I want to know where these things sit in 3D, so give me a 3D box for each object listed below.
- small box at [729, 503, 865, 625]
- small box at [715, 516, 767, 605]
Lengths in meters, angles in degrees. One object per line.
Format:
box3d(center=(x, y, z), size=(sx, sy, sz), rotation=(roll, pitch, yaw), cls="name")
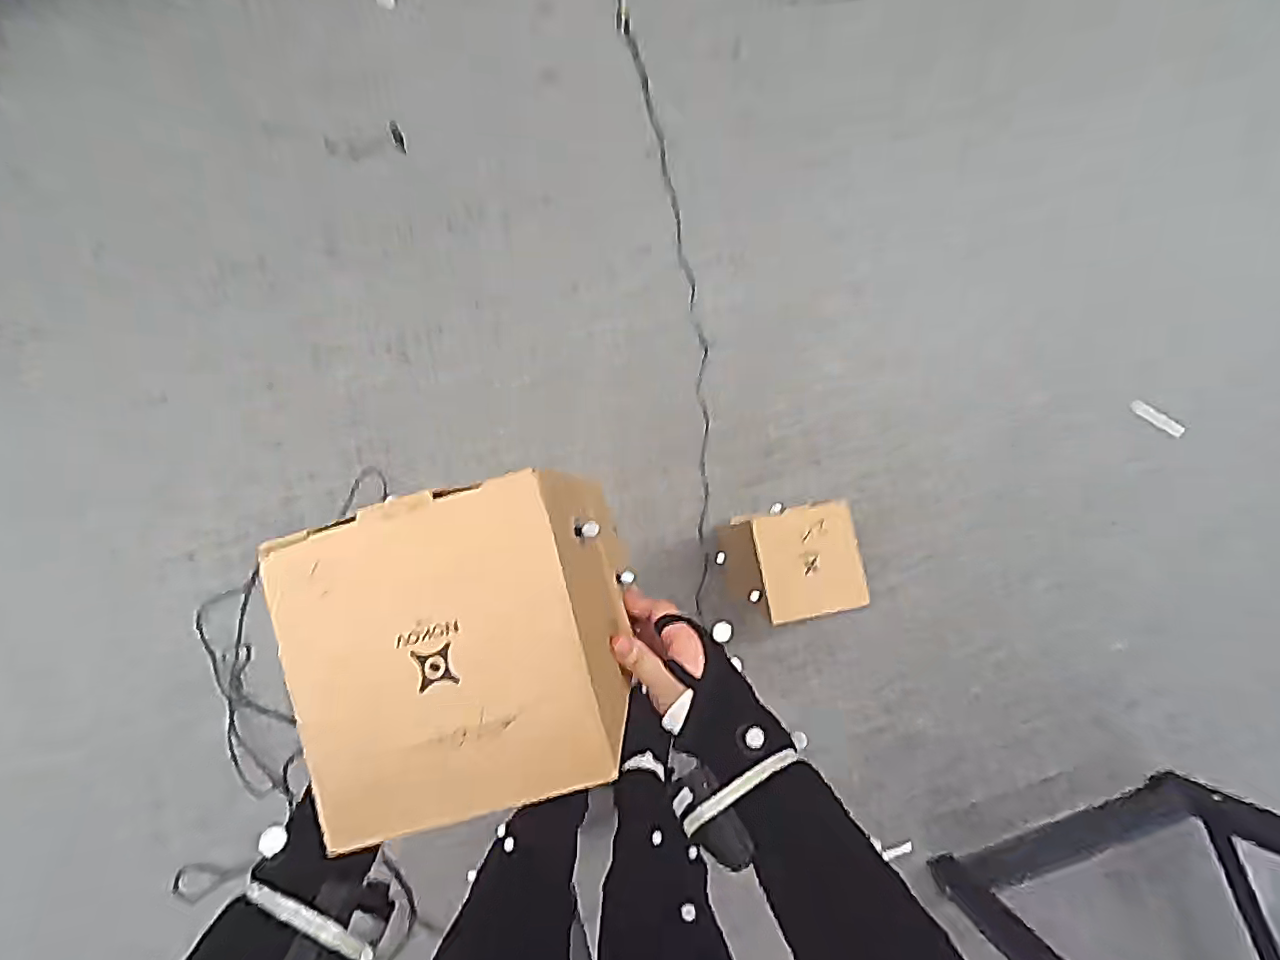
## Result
box3d(center=(0.270, 0.148, 0.967), size=(0.168, 0.176, 0.179), rotation=(-11, 82, -5), cls="small box")
box3d(center=(0.267, 0.161, 1.132), size=(0.179, 0.176, 0.168), rotation=(-8, 82, -3), cls="small box")
